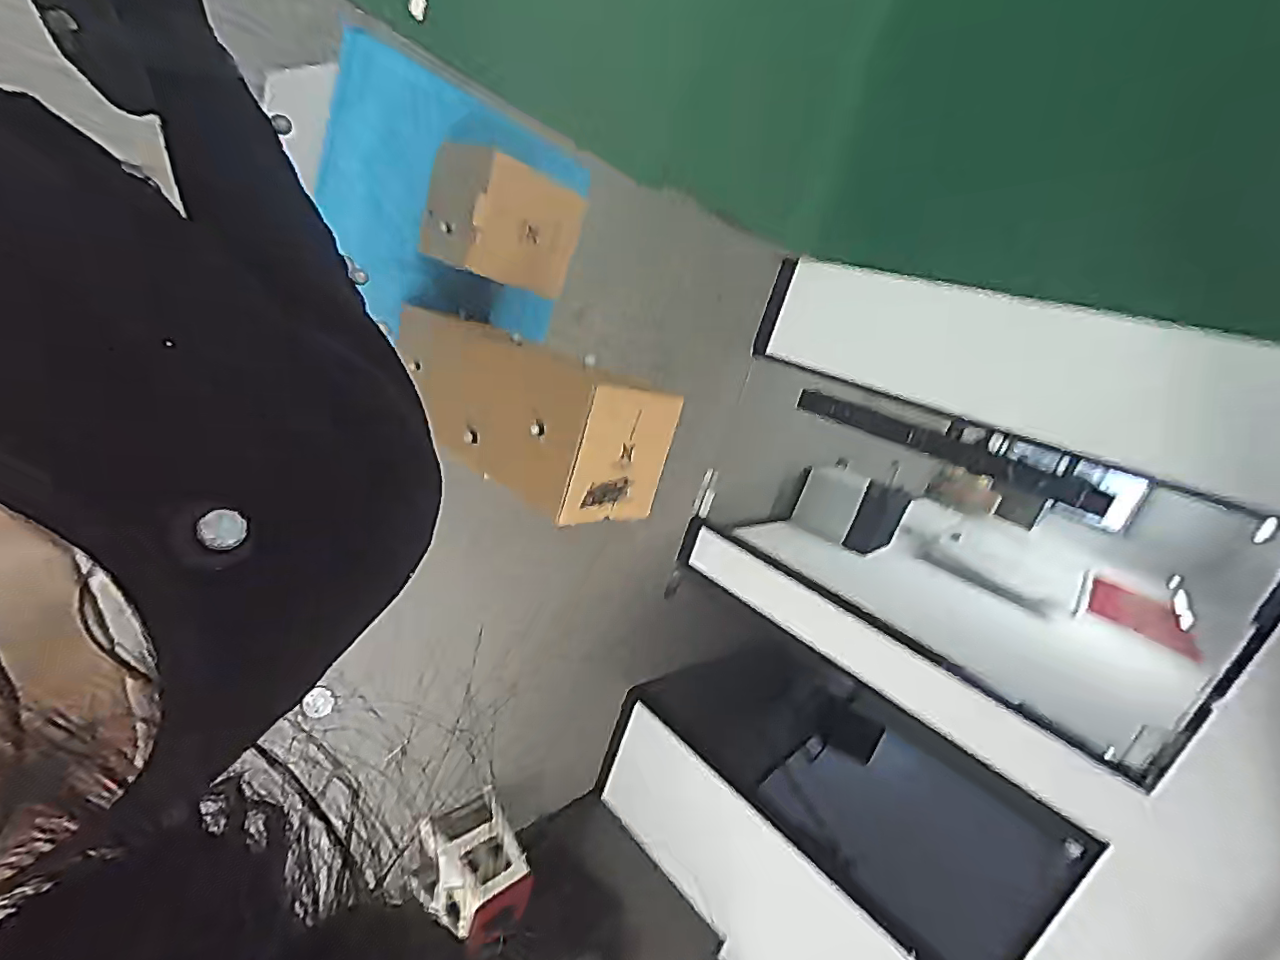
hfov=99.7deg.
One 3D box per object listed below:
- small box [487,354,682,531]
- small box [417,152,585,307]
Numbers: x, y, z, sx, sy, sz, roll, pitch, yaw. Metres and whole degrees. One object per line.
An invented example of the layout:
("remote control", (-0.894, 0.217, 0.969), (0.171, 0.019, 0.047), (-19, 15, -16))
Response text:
("small box", (-0.079, -0.050, 0.714), (0.168, 0.176, 0.179), (1, 112, -50))
("small box", (-0.225, -0.397, 0.862), (0.179, 0.176, 0.168), (4, 112, -51))
